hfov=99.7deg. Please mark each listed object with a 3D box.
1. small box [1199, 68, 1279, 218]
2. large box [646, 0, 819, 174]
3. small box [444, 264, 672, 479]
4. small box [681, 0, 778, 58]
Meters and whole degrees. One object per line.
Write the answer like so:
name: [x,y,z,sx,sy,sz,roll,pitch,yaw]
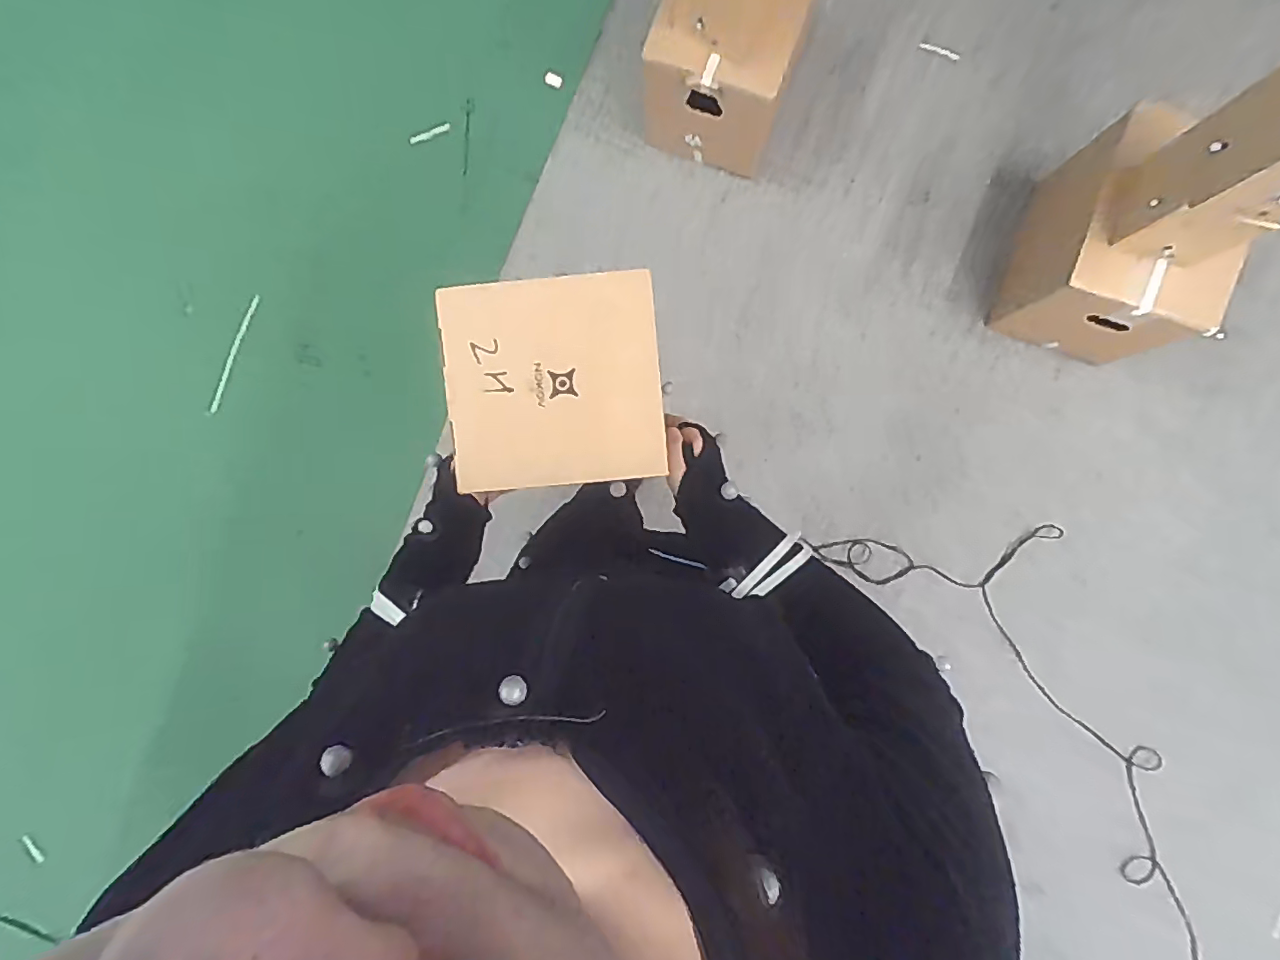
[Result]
small box: [1.058,-0.543,0.856,0.168,0.176,0.179,13,92,5]
large box: [0.230,-1.055,1.317,0.320,0.320,0.408,21,91,4]
small box: [-0.065,-0.094,0.518,0.179,0.176,0.168,-4,95,2]
small box: [0.188,-1.009,1.076,0.168,0.176,0.179,32,93,5]
